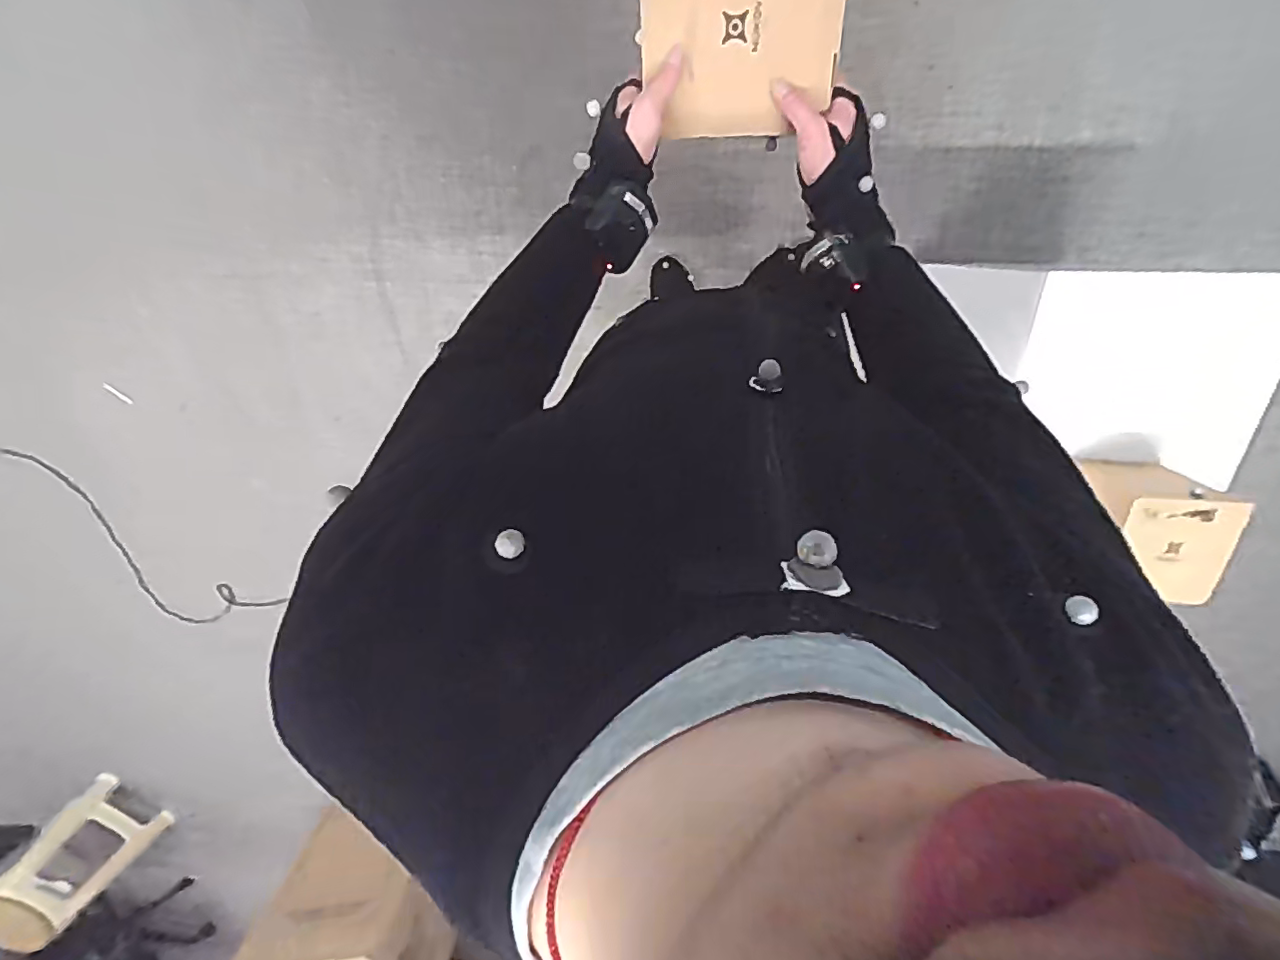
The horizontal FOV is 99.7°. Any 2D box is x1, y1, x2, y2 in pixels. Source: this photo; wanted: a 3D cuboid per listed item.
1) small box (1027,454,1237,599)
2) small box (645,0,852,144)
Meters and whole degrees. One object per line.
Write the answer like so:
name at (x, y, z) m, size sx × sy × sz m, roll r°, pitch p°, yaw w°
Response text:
small box at (0.789, 0.072, 0.896) m, size 0.168 × 0.176 × 0.179 m, roll 3°, pitch 114°, yaw 1°
small box at (0.098, -0.433, 0.531) m, size 0.179 × 0.176 × 0.168 m, roll 0°, pitch 123°, yaw 6°
